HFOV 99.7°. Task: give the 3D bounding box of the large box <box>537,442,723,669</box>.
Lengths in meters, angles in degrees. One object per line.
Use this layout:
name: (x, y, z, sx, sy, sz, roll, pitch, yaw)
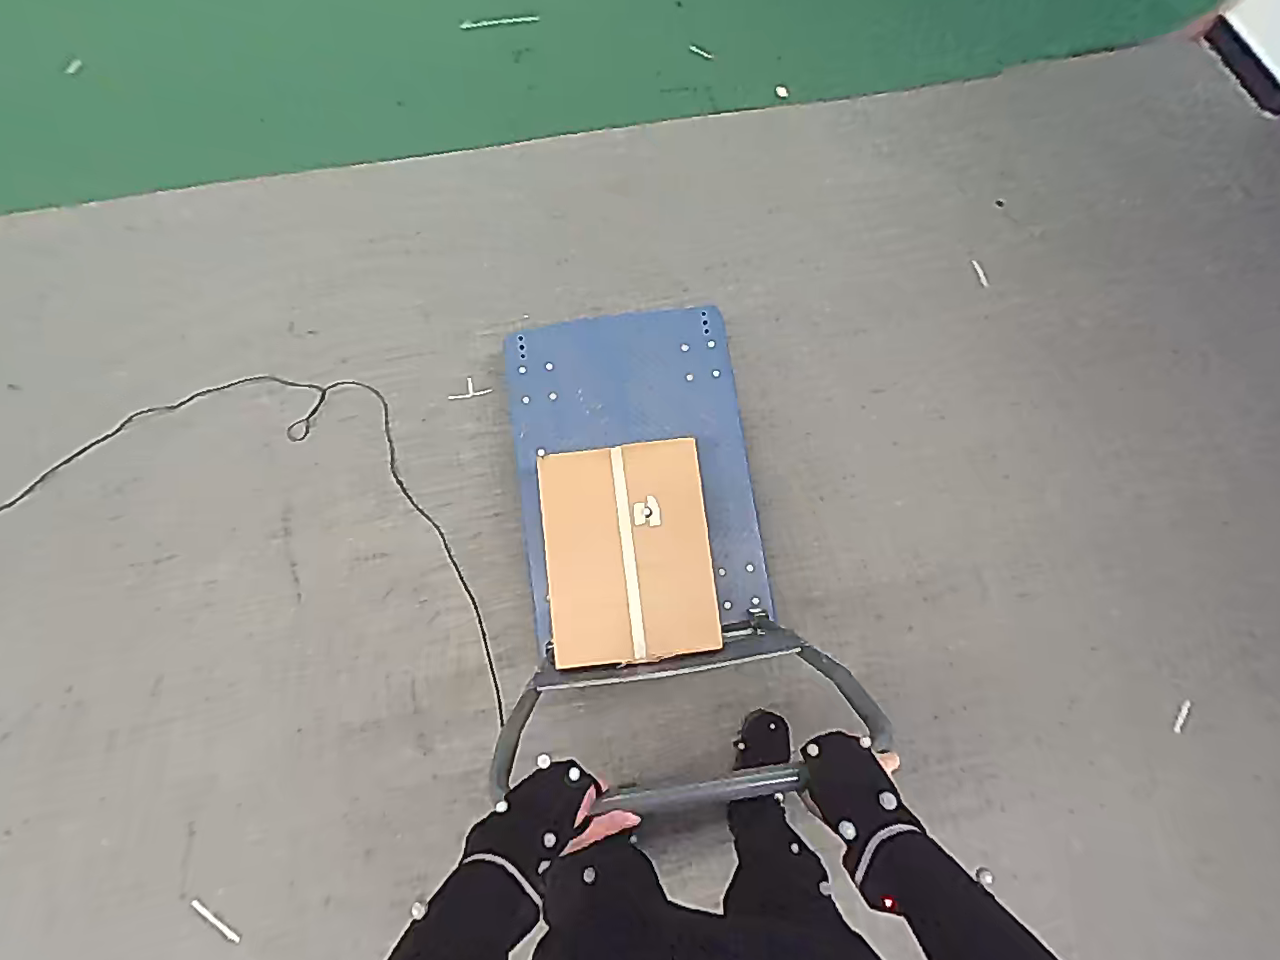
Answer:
large box: (-0.023, 0.163, 1.179, 0.320, 0.320, 0.408, -7, 80, -2)
